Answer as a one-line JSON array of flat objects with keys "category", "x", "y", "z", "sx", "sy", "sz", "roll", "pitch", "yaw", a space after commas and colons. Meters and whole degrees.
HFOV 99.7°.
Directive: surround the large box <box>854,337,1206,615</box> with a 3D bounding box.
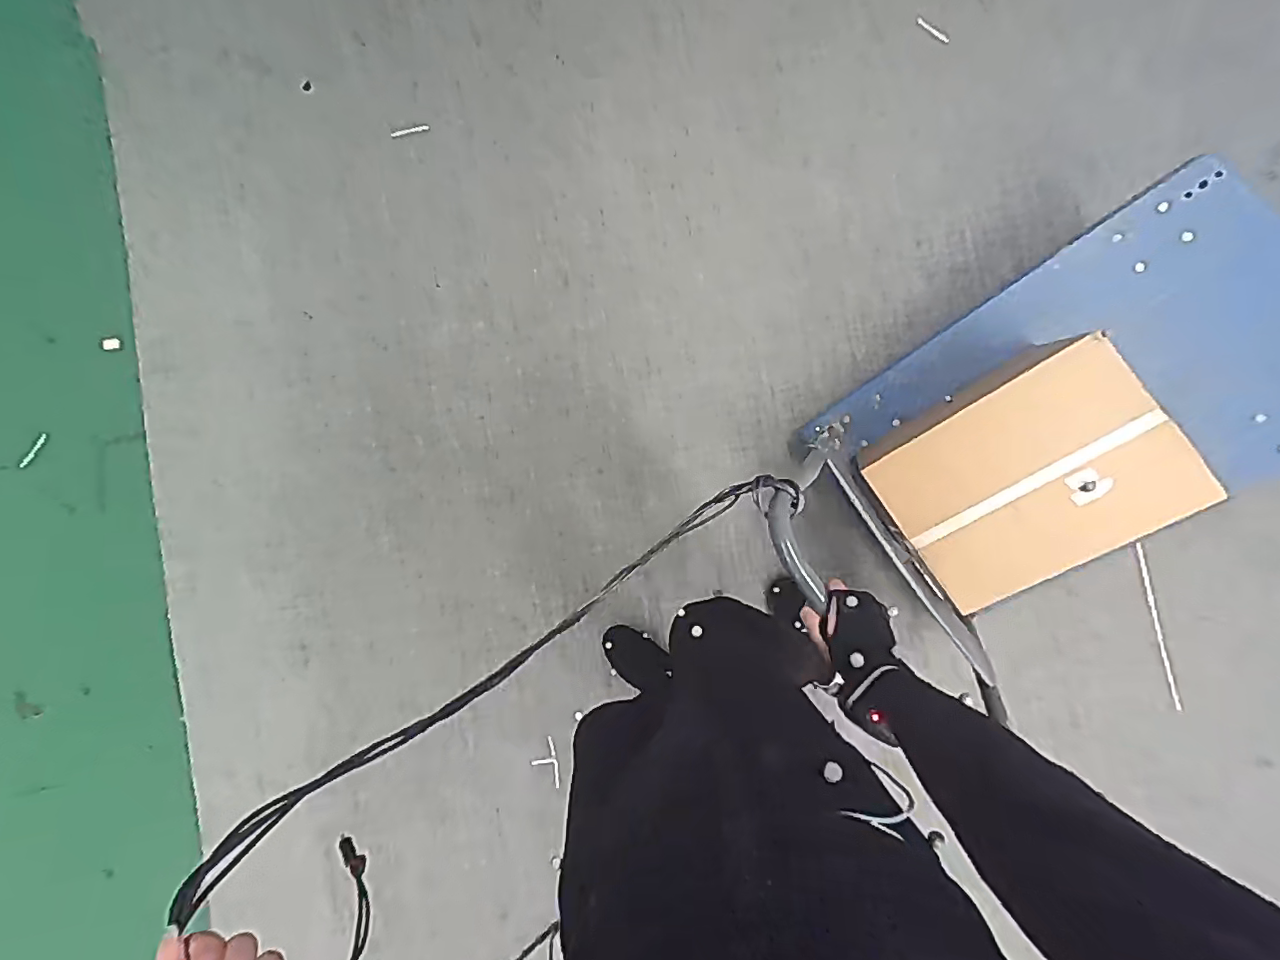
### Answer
[{"category": "large box", "x": 0.675, "y": -0.010, "z": 1.035, "sx": 0.408, "sy": 0.320, "sz": 0.320, "roll": -35, "pitch": 86, "yaw": 21}]
